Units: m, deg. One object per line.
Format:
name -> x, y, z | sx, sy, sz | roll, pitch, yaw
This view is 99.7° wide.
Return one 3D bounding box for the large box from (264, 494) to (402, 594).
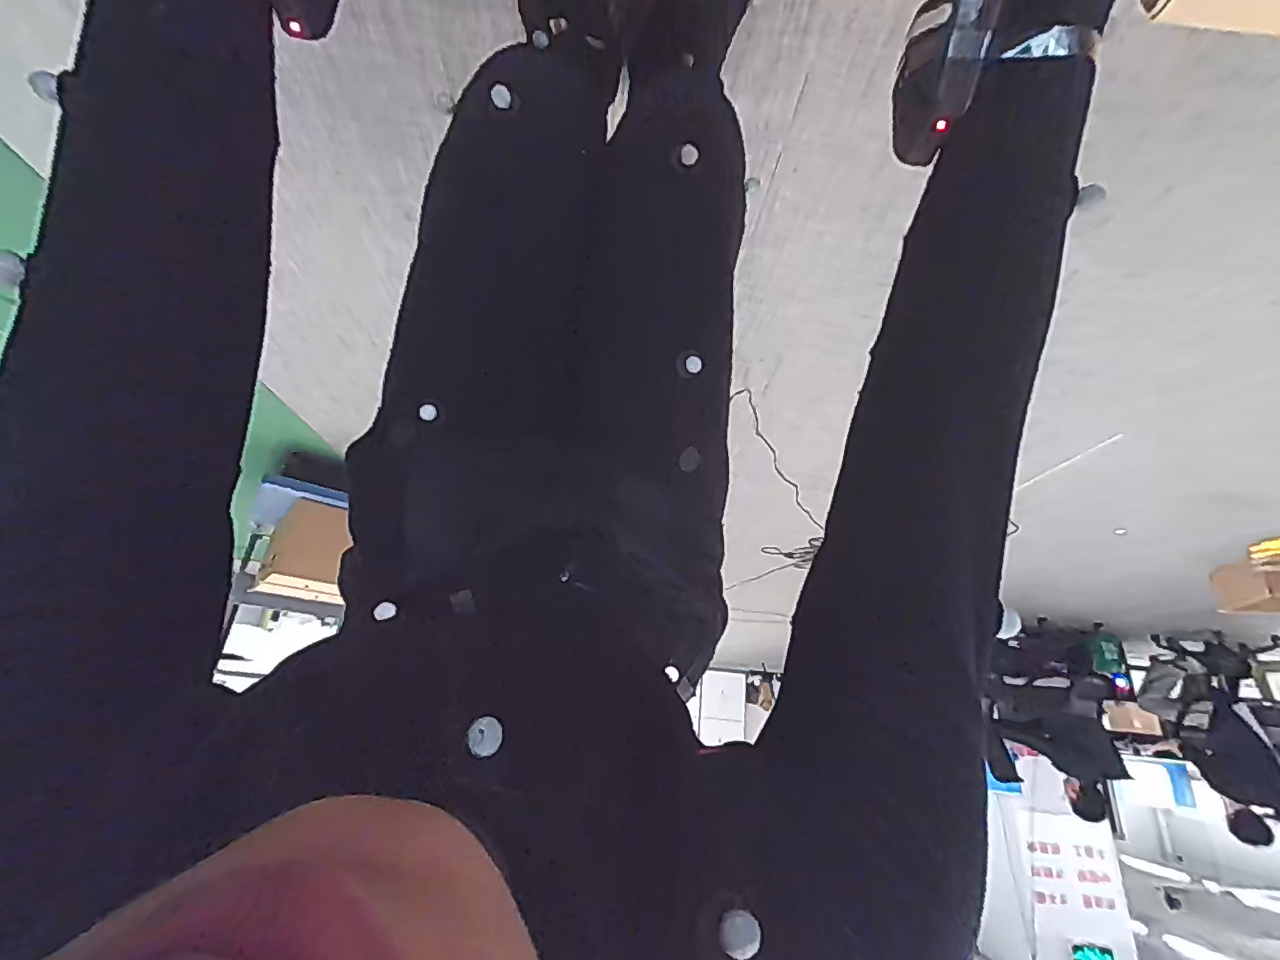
large box -> -1.281, 0.284, 2.271 | 0.408, 0.320, 0.320 | 23, 154, -35
